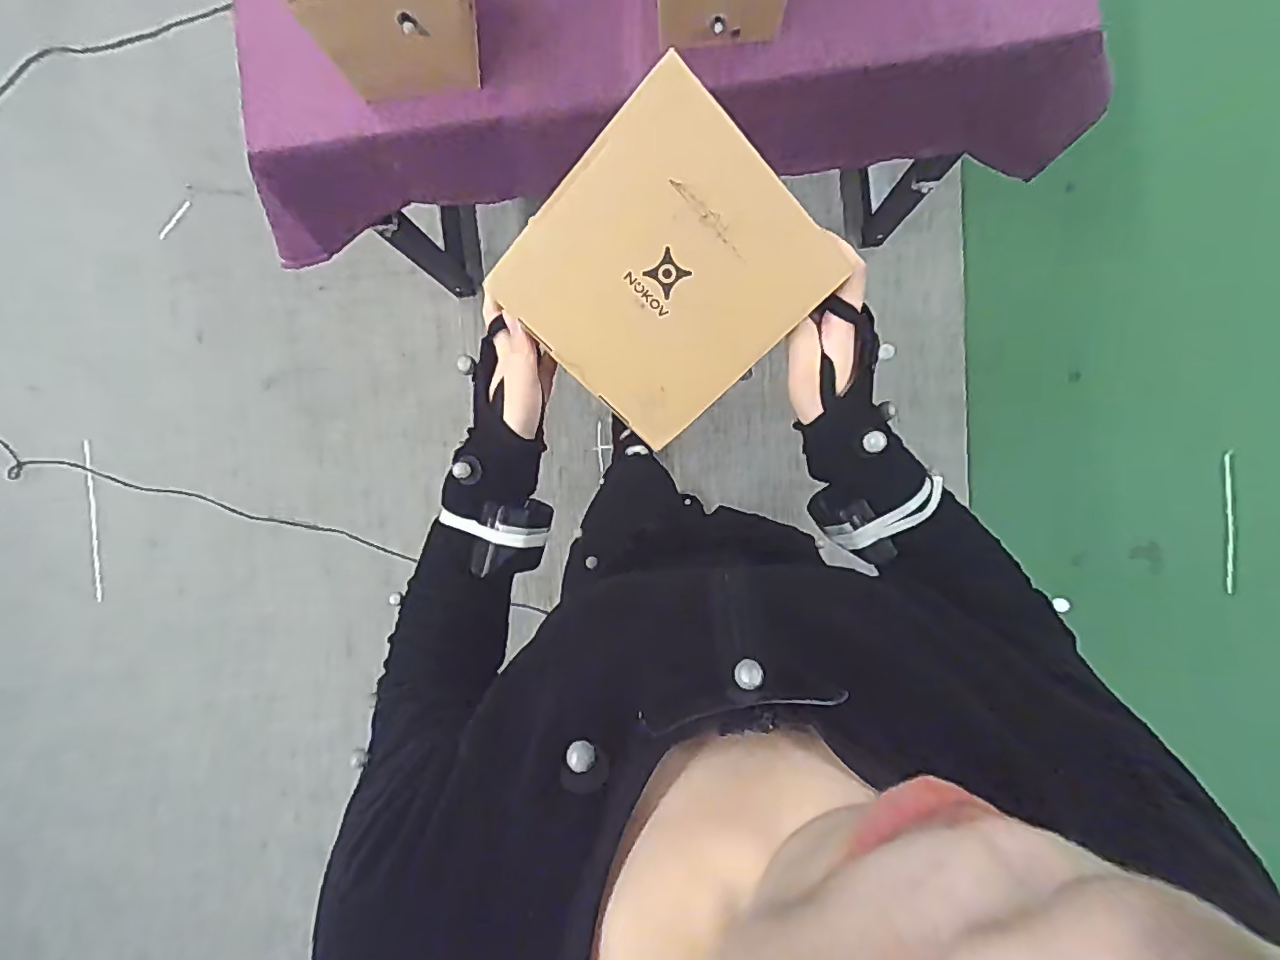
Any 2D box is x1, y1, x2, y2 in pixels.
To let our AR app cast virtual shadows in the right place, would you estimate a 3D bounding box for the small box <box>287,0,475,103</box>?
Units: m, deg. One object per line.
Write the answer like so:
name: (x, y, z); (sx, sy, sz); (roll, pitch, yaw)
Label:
small box: (-0.324, -0.633, 0.704); (0.179, 0.176, 0.168); (-3, 90, 4)
